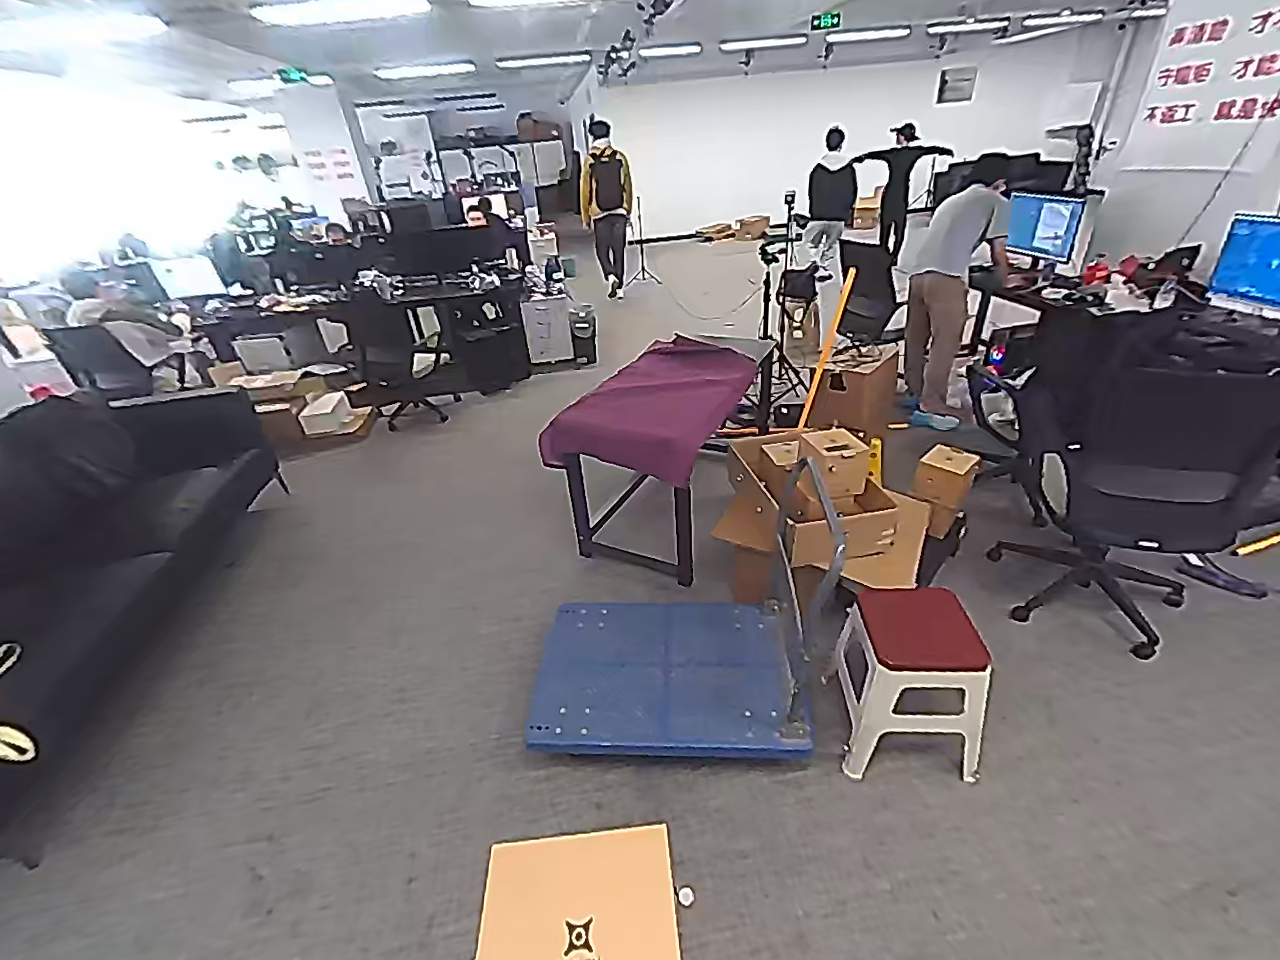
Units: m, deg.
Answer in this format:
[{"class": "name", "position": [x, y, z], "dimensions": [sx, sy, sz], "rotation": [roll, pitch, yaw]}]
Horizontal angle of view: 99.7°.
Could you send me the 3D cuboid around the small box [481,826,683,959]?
[{"class": "small box", "position": [-0.044, 0.450, 0.485], "dimensions": [0.168, 0.176, 0.179], "rotation": [-6, 33, 0]}]
